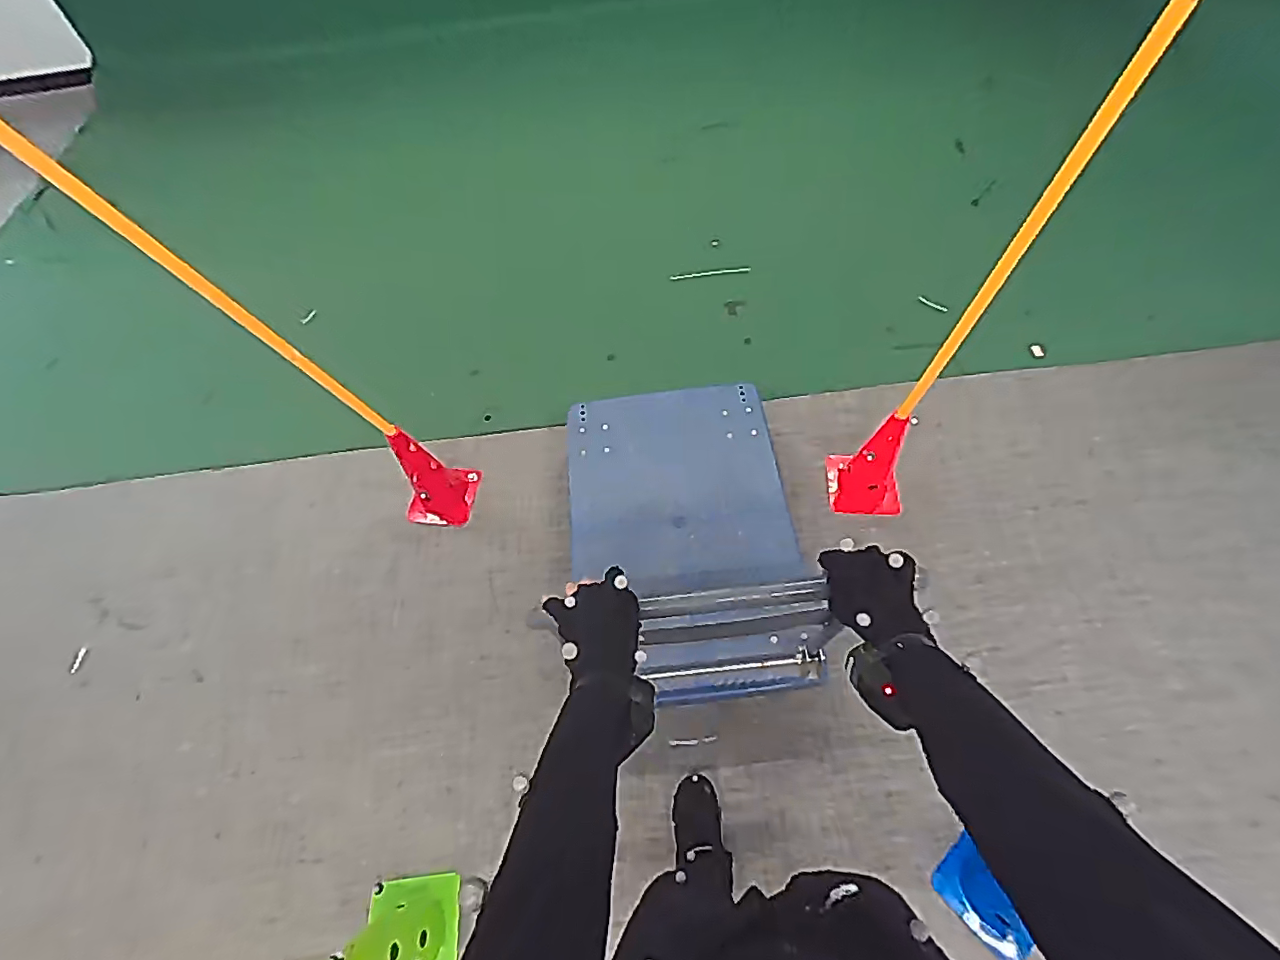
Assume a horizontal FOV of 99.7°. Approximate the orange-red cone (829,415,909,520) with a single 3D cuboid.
[{"bbox_3d":[0.658,-0.057,1.477,0.198,0.360,0.199,3,61,7],"label":"orange-red cone"}]
